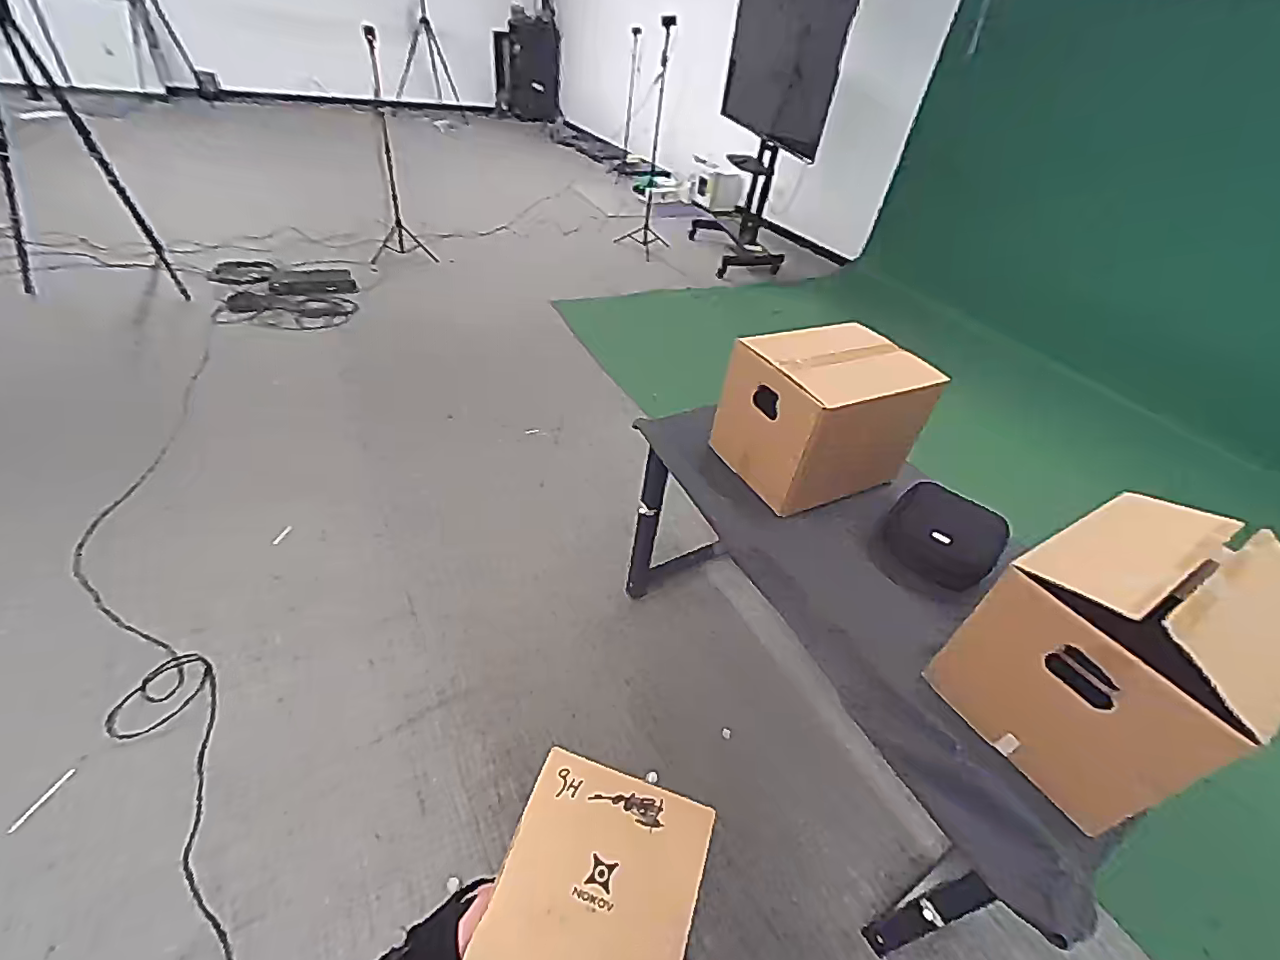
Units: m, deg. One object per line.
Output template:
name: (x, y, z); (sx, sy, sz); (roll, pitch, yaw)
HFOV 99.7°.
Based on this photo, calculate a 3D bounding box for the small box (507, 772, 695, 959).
small box: (-0.036, 0.490, 0.655); (0.168, 0.176, 0.179); (13, 50, 10)
